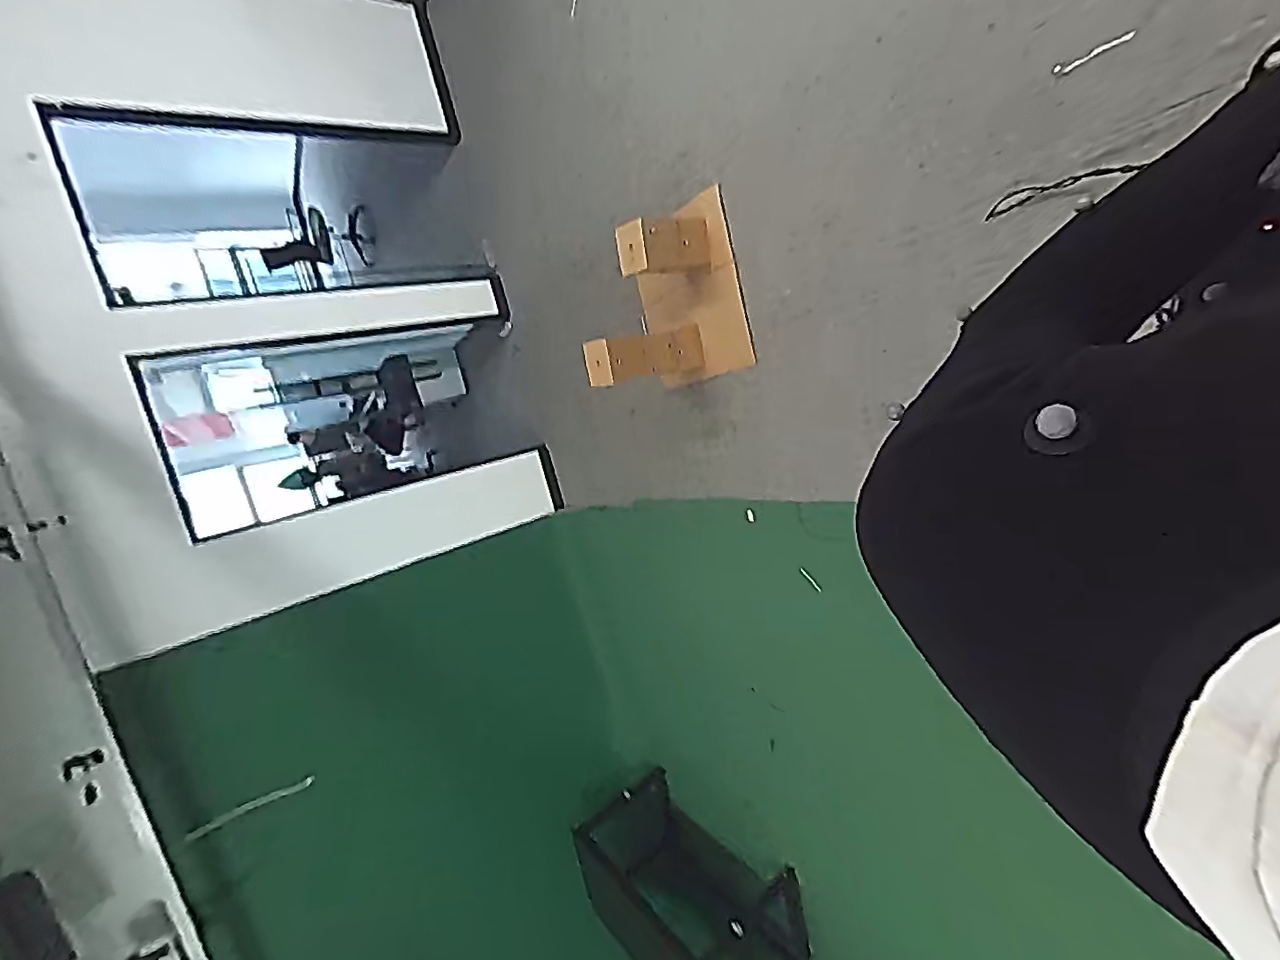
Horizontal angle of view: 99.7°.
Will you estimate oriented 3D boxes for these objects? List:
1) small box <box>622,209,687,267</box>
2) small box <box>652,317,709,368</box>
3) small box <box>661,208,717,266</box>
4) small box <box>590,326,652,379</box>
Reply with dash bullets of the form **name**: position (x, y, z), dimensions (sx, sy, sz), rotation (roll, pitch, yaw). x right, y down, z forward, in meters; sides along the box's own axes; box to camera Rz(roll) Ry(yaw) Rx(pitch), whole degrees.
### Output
- **small box**: position (0.057, -0.917, 2.051), dimensions (0.168, 0.176, 0.179), rotation (14, 118, 53)
- **small box**: position (0.180, -0.595, 2.338), dimensions (0.168, 0.176, 0.179), rotation (5, 110, 55)
- **small box**: position (0.184, -0.963, 2.146), dimensions (0.168, 0.176, 0.179), rotation (7, 113, 55)
- **small box**: position (-0.071, -0.507, 2.147), dimensions (0.168, 0.176, 0.179), rotation (8, 113, 53)
